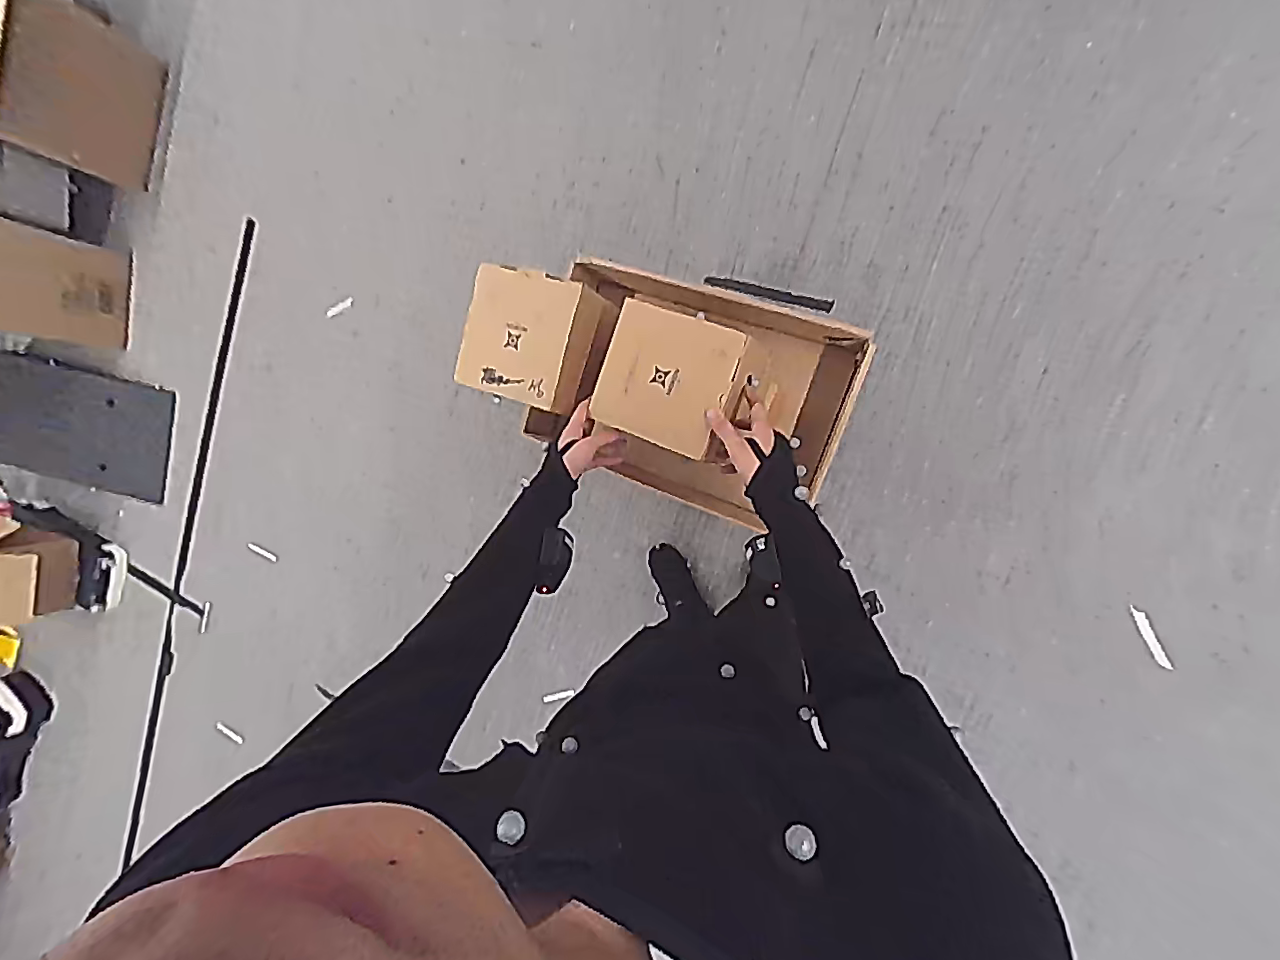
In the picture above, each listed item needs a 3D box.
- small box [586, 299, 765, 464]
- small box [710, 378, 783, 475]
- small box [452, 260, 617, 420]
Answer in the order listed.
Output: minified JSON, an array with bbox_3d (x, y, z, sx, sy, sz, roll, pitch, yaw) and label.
[{"bbox_3d":[0.058,-0.130,0.756,0.179,0.176,0.168,24,100,20],"label":"small box"},{"bbox_3d":[0.170,-0.122,1.062,0.168,0.176,0.179,25,100,20],"label":"small box"},{"bbox_3d":[-0.146,-0.201,0.814,0.168,0.176,0.179,19,97,18],"label":"small box"}]
